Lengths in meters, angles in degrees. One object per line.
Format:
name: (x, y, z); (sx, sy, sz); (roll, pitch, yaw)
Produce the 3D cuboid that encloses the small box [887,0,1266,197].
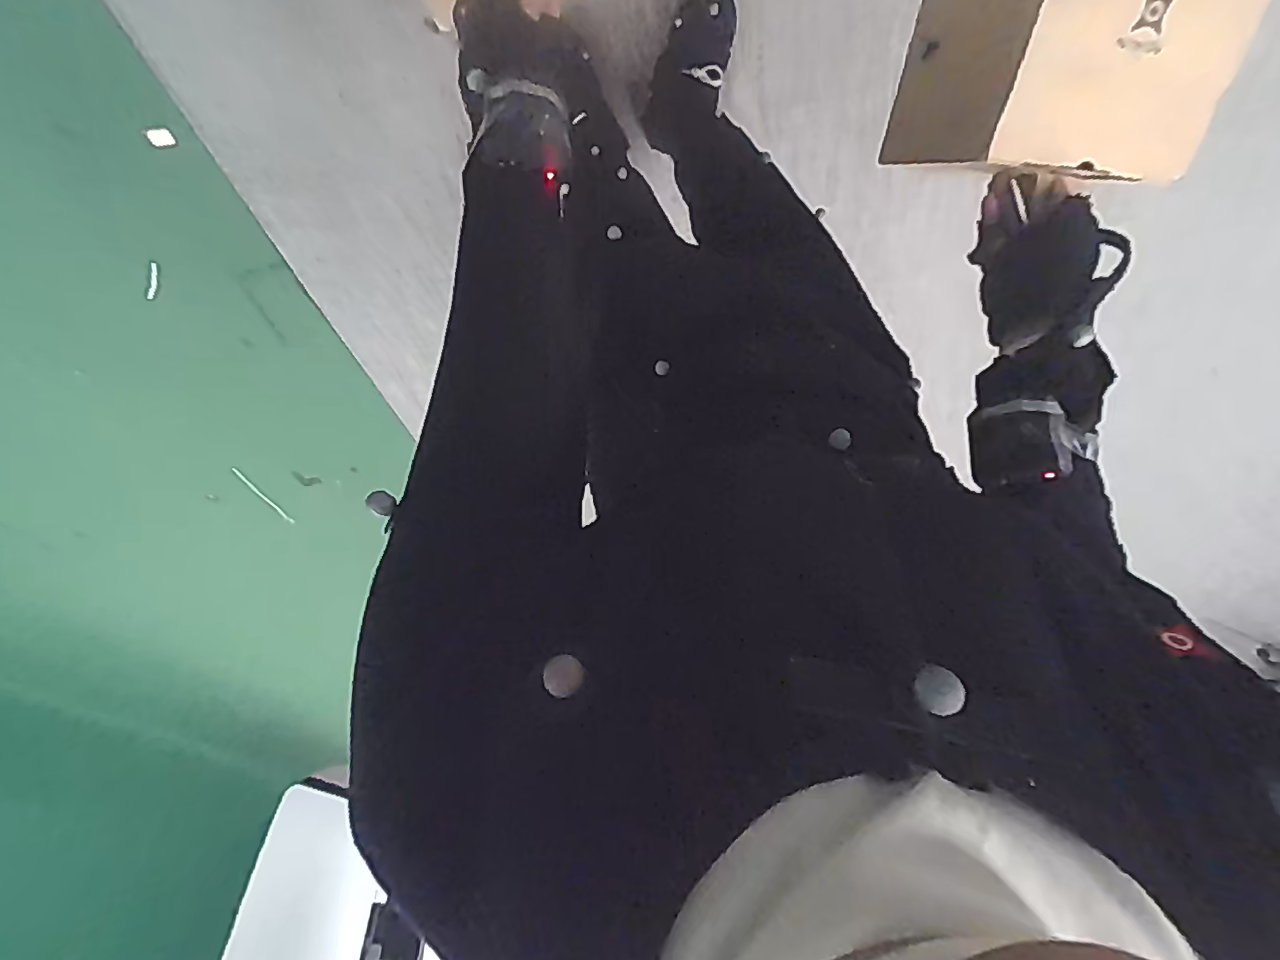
small box: (0.334, -0.344, 0.445); (0.168, 0.176, 0.179); (2, 119, -8)
